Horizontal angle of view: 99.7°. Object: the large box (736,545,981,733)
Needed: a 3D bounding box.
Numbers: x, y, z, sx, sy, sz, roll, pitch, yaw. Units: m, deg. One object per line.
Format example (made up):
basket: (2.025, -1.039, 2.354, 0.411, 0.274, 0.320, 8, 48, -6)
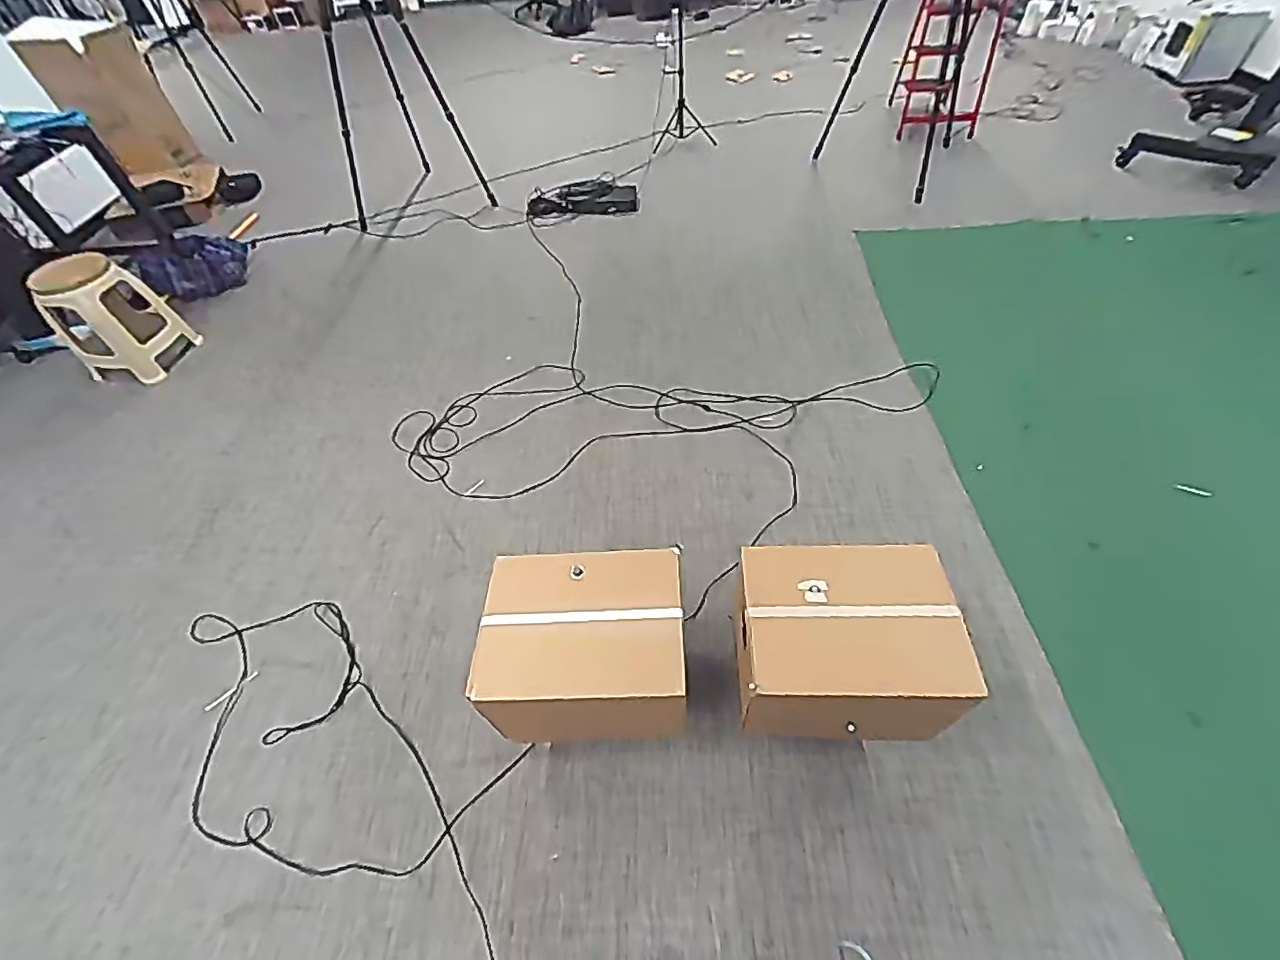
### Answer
large box: (0.429, 0.356, 1.183, 0.408, 0.320, 0.320, -1, 51, 5)
